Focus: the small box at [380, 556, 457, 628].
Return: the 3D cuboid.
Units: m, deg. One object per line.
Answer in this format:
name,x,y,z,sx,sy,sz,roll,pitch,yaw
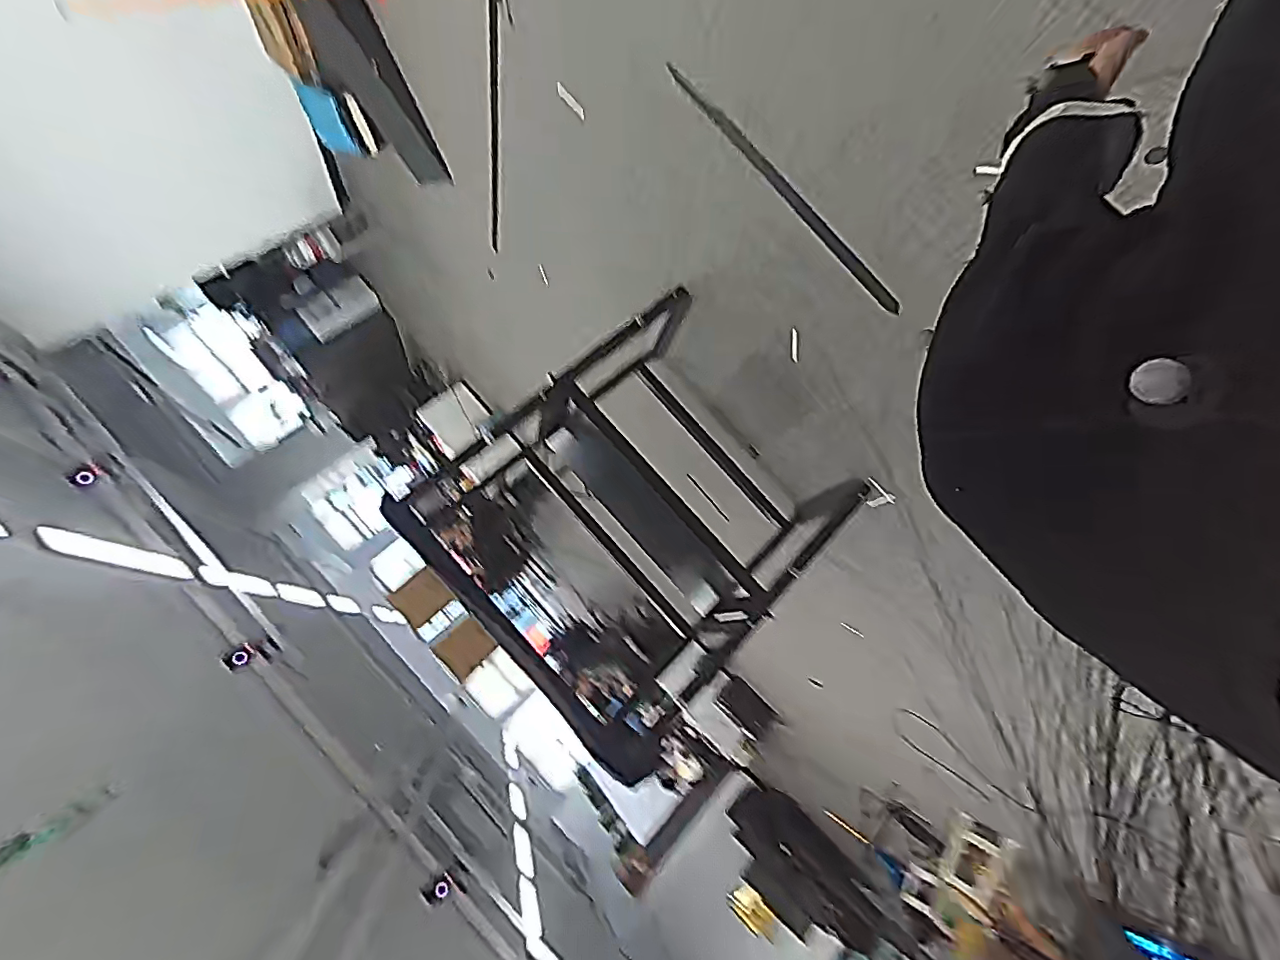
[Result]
small box,-0.730,0.374,1.808,0.168,0.176,0.179,47,159,0
